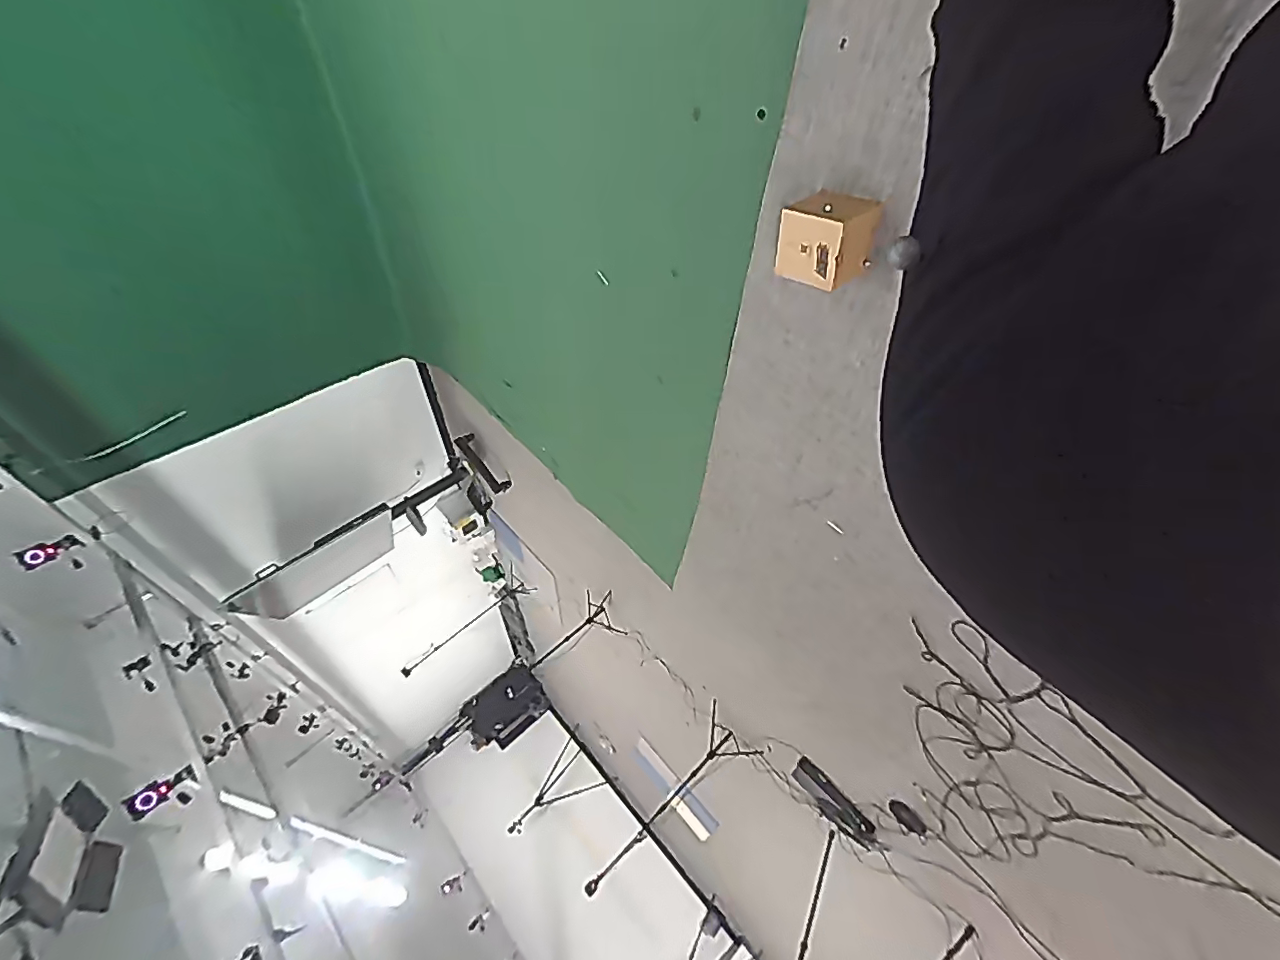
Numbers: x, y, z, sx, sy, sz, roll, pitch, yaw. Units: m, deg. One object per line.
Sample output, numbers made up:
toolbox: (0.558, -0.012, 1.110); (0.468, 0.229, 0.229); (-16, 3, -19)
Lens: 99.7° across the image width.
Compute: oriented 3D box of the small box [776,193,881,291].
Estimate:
small box: (0.472, -0.603, 1.358); (0.179, 0.176, 0.168); (36, 146, 34)
